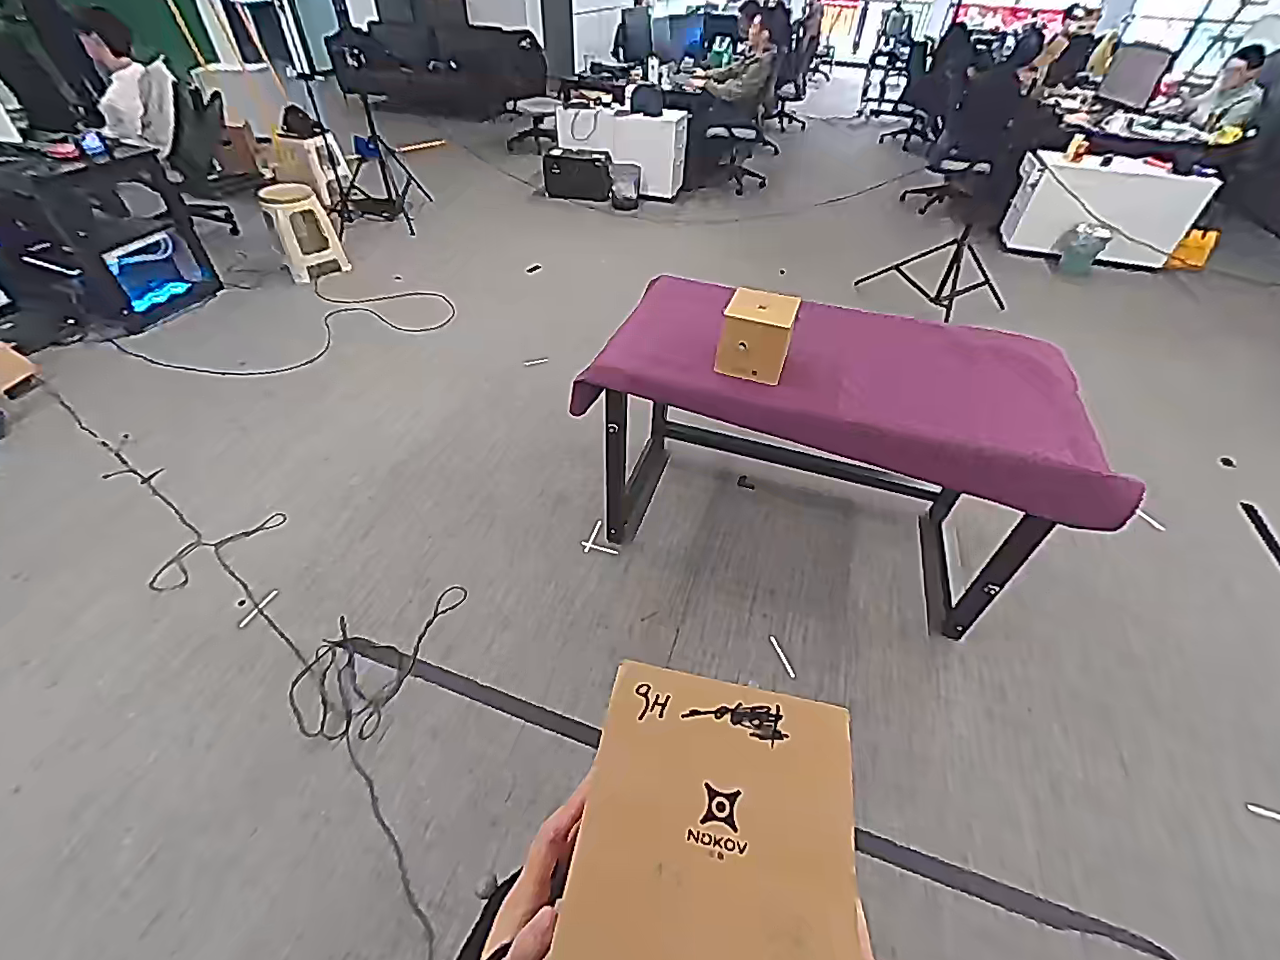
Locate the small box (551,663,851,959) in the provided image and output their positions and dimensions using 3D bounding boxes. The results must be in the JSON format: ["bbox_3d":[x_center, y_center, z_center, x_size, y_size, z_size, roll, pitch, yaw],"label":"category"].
[{"bbox_3d":[0.047,0.265,0.399,0.168,0.176,0.179,11,51,7],"label":"small box"}]

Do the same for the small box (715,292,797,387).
[{"bbox_3d":[0.298,-0.365,1.409,0.168,0.176,0.179,15,44,13],"label":"small box"}]
